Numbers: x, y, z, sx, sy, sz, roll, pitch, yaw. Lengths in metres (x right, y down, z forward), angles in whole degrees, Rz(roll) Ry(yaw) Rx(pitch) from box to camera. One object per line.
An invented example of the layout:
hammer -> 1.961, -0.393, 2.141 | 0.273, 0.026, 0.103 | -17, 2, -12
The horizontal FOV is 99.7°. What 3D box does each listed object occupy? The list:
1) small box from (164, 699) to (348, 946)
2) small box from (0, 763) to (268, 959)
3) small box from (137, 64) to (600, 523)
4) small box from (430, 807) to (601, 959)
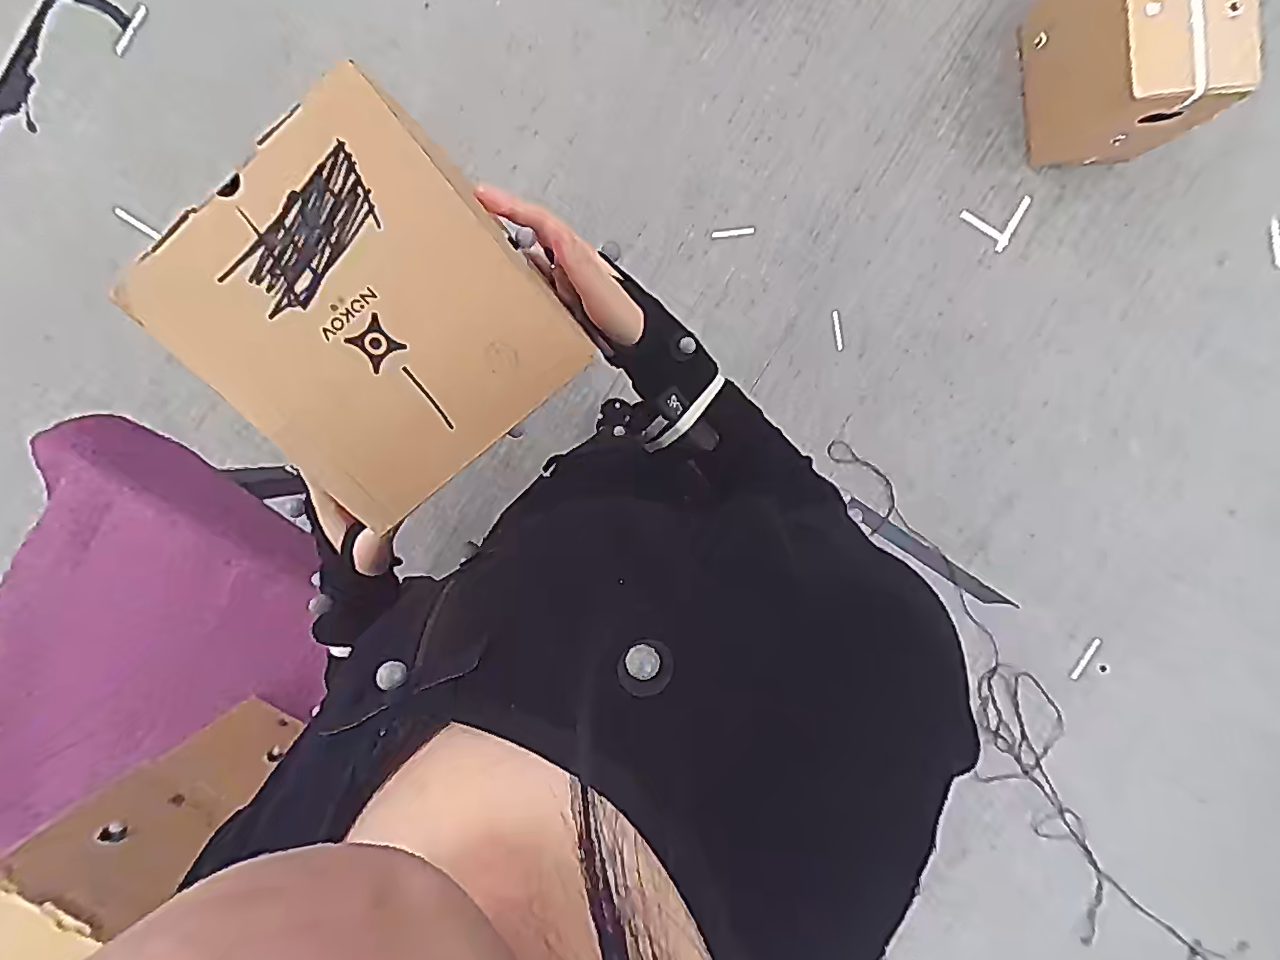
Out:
small box -> -0.516, 0.422, 0.699 | 0.168, 0.176, 0.179 | 32, 92, -4
small box -> -0.520, 0.428, 0.537 | 0.168, 0.176, 0.179 | 33, 92, -3
small box -> -0.144, -0.109, 0.360 | 0.168, 0.176, 0.179 | -37, 109, 9
small box -> -0.166, 0.593, 0.728 | 0.168, 0.176, 0.179 | 31, 92, -4
